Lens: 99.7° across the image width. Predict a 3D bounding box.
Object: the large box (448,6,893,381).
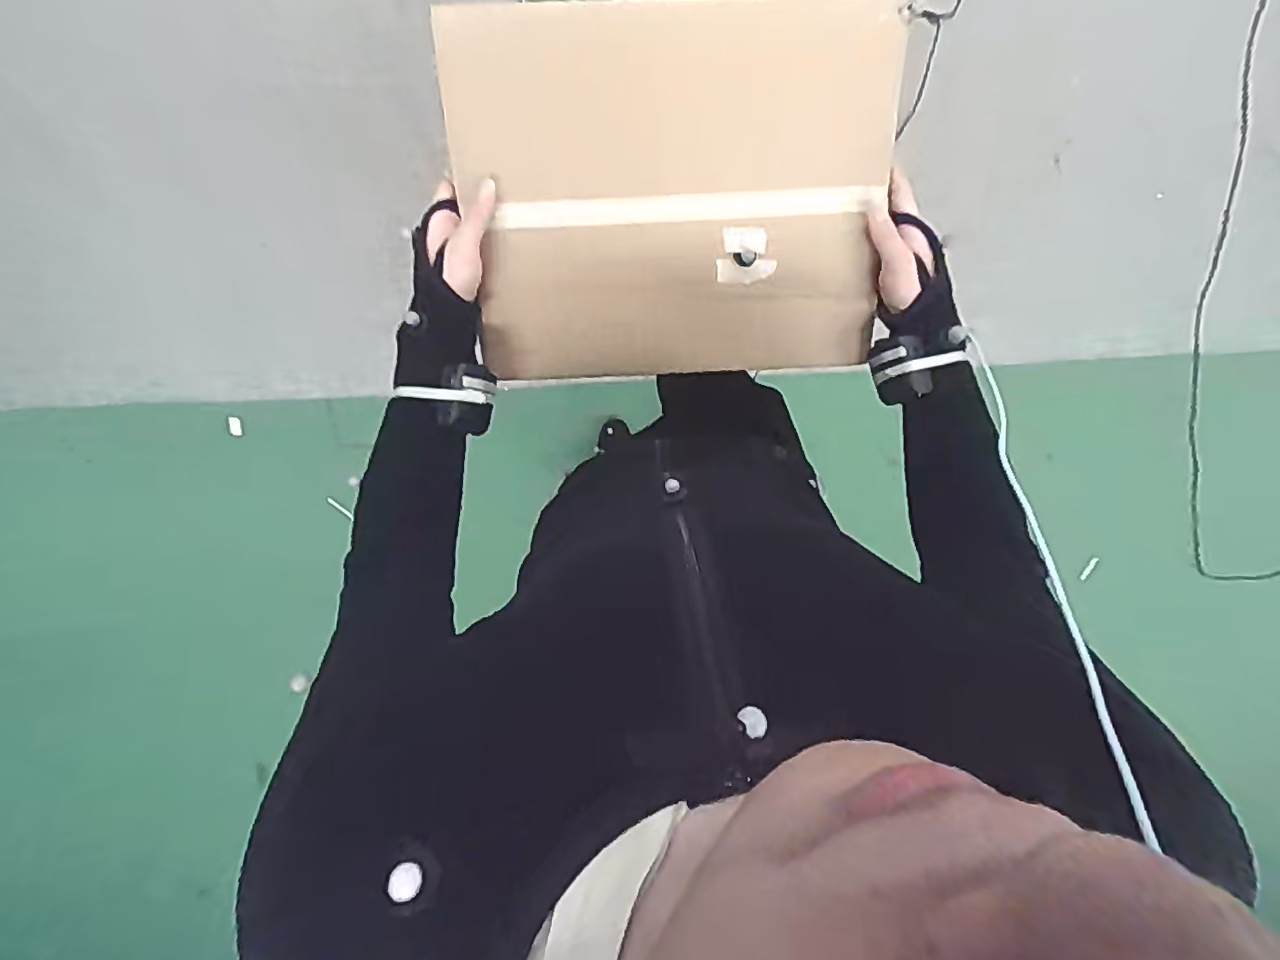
[{"bbox_3d":[0.029,-0.314,0.666,0.408,0.320,0.320,-3,112,-1],"label":"large box"}]
